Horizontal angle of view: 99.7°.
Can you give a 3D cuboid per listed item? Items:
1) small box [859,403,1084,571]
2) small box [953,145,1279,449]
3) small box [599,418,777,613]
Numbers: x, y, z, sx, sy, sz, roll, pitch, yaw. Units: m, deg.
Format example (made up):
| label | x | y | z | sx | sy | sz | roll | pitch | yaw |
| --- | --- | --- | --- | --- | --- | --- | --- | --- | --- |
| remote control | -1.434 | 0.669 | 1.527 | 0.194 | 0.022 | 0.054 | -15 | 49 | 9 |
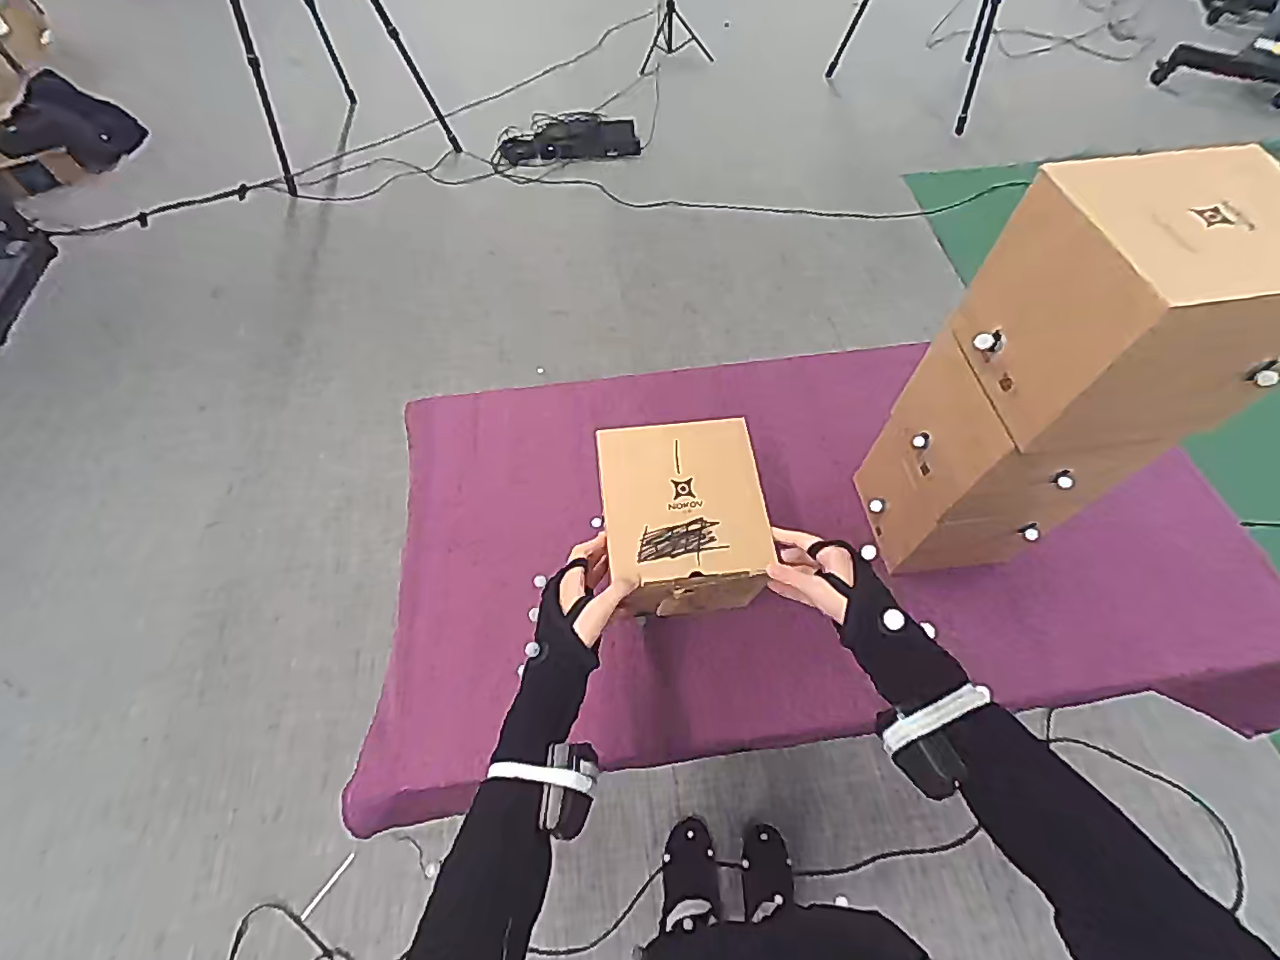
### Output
| label | x | y | z | sx | sy | sz | roll | pitch | yaw |
| --- | --- | --- | --- | --- | --- | --- | --- | --- | --- |
| small box | 0.429 | 0.013 | 0.737 | 0.179 | 0.176 | 0.168 | -6 | 59 | -2 |
| small box | 0.408 | -0.142 | 0.448 | 0.179 | 0.176 | 0.168 | -6 | 59 | -1 |
| small box | 0.044 | 0.050 | 0.628 | 0.168 | 0.176 | 0.179 | -6 | 64 | -4 |
